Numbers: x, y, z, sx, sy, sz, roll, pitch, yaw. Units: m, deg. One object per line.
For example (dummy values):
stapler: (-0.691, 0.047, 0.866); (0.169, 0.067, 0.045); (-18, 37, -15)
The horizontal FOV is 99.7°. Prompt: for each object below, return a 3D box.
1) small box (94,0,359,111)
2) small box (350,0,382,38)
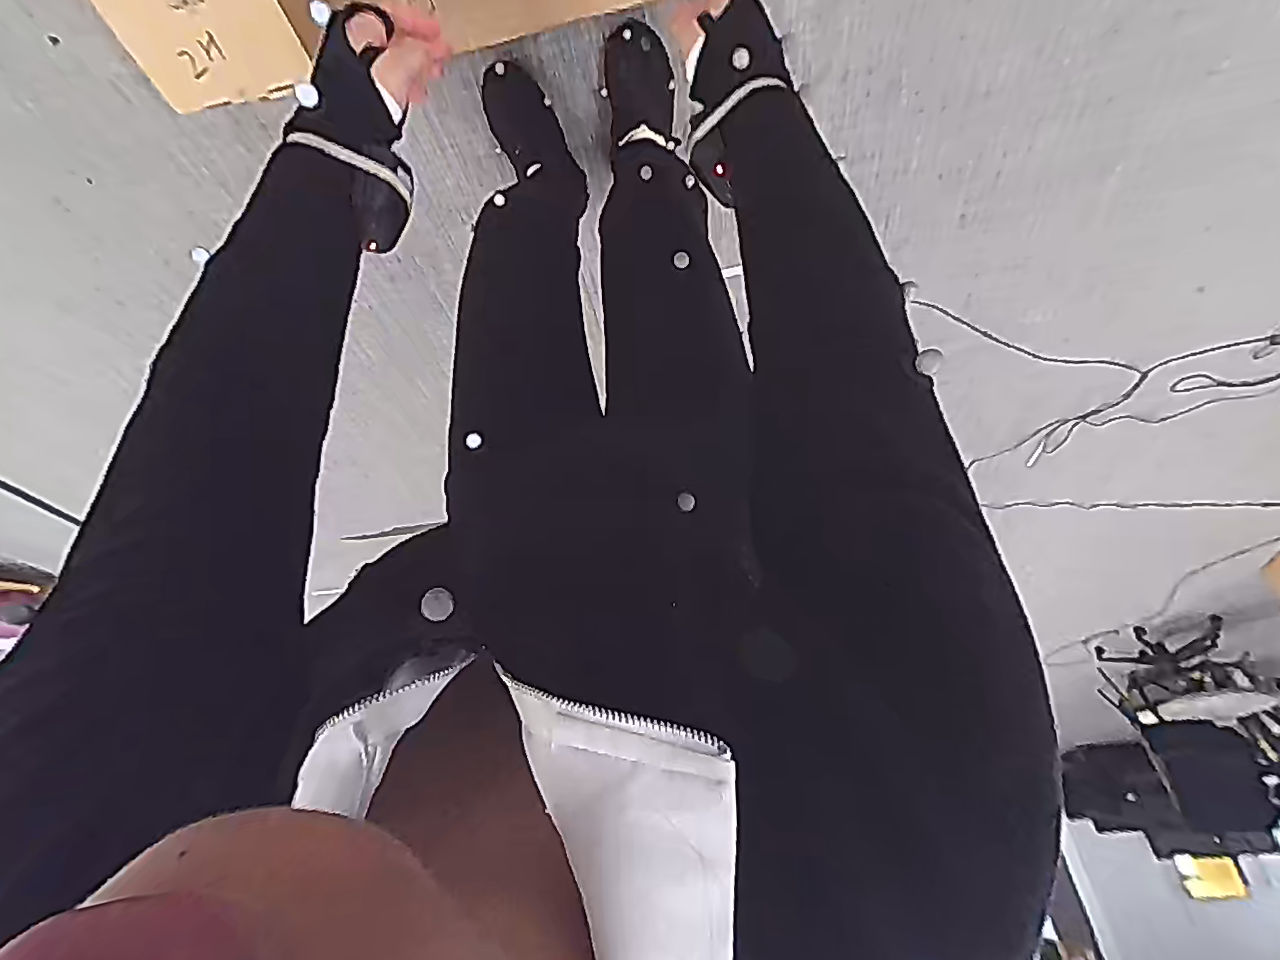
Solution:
small box: (-0.418, -0.509, 0.535); (0.168, 0.176, 0.179); (-8, 143, 7)
small box: (-0.441, -0.635, 0.642); (0.168, 0.176, 0.179); (-9, 144, 8)
